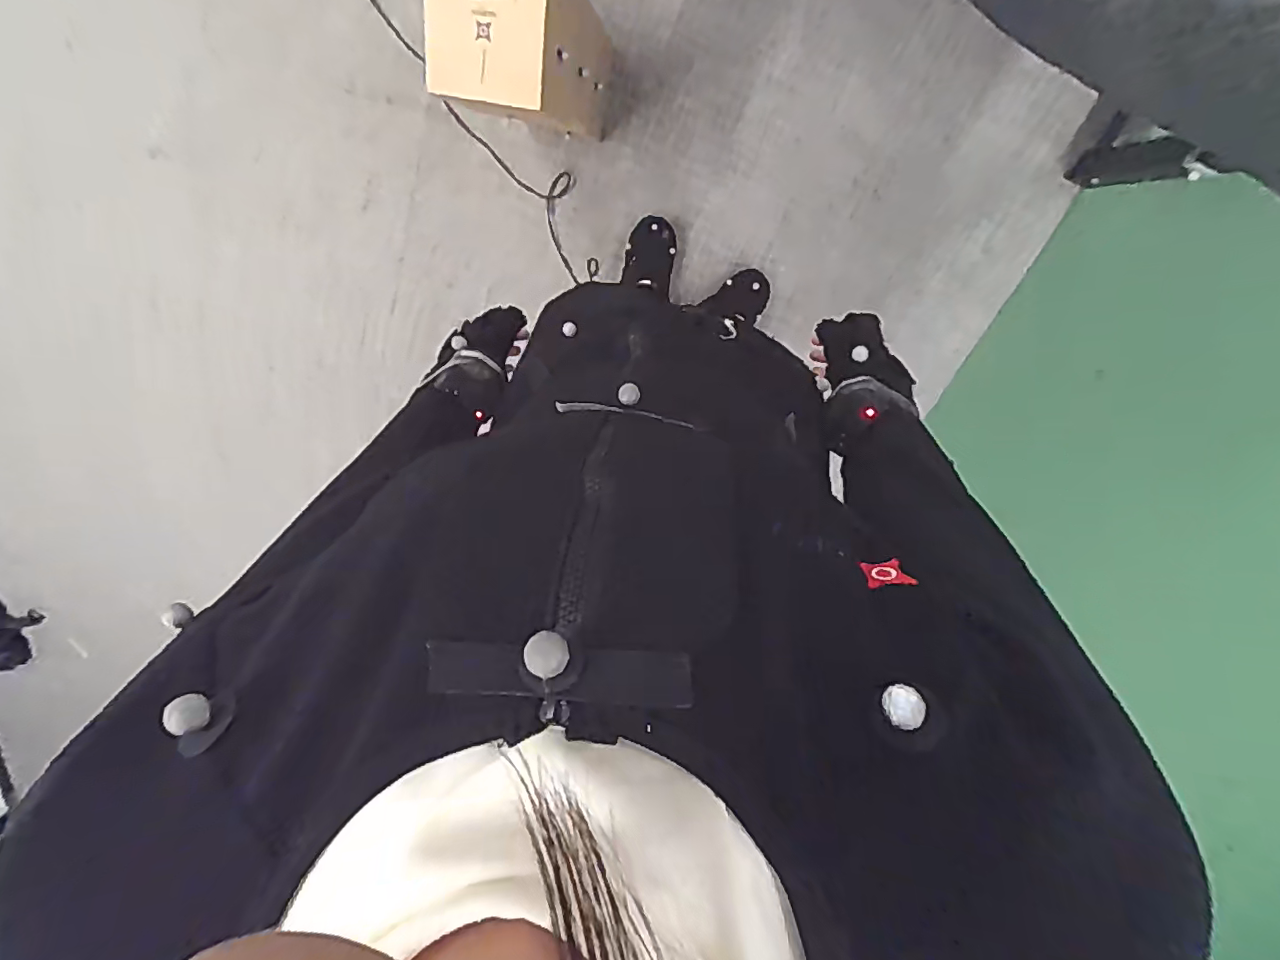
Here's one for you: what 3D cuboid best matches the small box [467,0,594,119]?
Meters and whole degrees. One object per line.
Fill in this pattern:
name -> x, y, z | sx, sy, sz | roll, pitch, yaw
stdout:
small box -> -0.179, -0.731, 0.917 | 0.168, 0.176, 0.179 | 9, 116, 5
